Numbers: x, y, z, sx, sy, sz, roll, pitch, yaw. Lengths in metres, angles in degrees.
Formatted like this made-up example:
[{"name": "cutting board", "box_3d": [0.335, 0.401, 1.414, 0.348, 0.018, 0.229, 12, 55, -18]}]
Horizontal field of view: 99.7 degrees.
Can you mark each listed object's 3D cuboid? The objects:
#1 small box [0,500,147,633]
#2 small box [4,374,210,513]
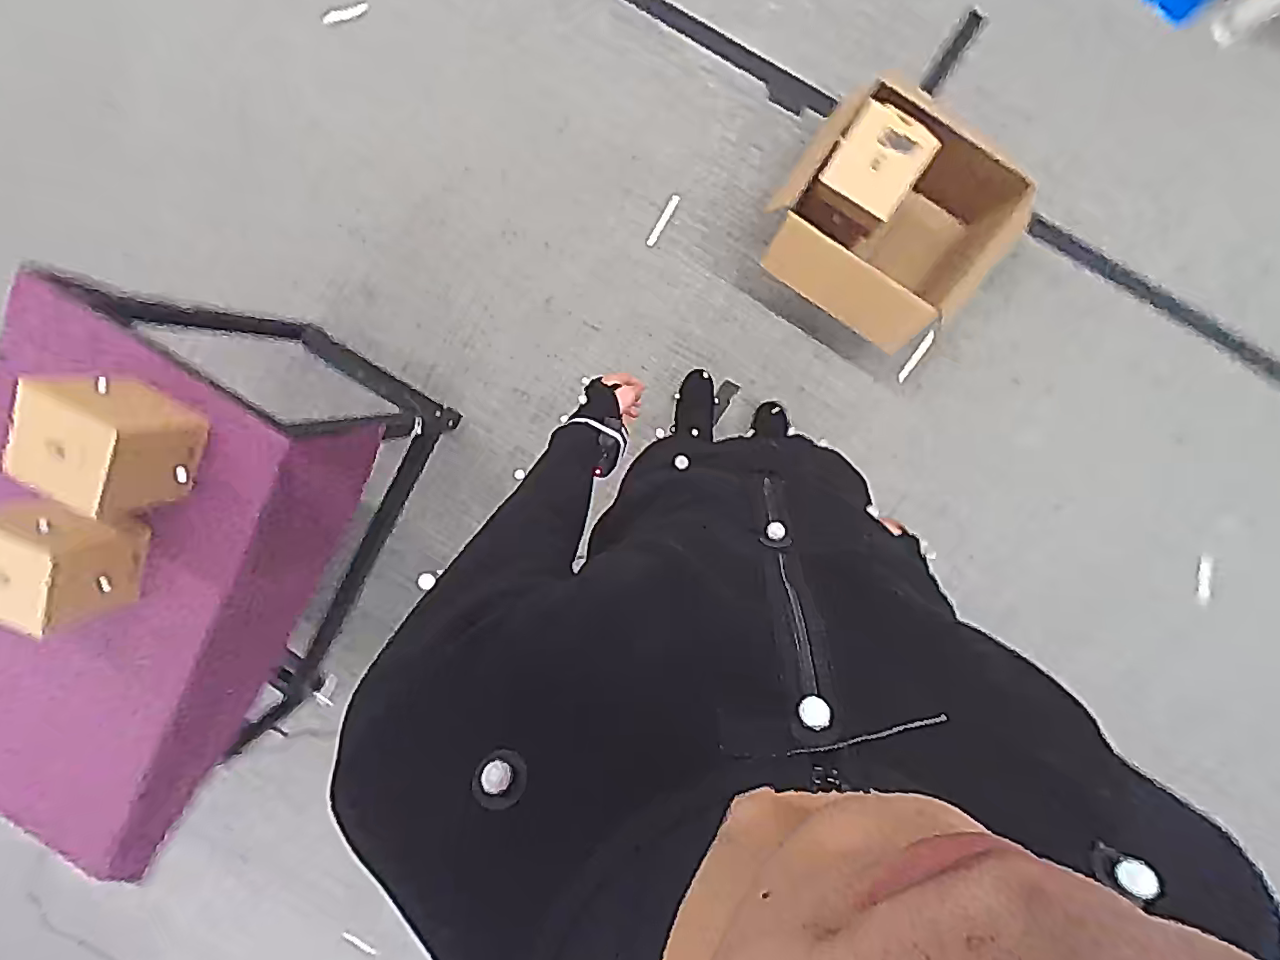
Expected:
[{"name": "small box", "box_3d": [-1.072, 0.144, 0.995, 0.179, 0.176, 0.168, 23, 102, 3]}, {"name": "small box", "box_3d": [-0.911, -0.068, 0.937, 0.179, 0.176, 0.168, 29, 103, 2]}]
